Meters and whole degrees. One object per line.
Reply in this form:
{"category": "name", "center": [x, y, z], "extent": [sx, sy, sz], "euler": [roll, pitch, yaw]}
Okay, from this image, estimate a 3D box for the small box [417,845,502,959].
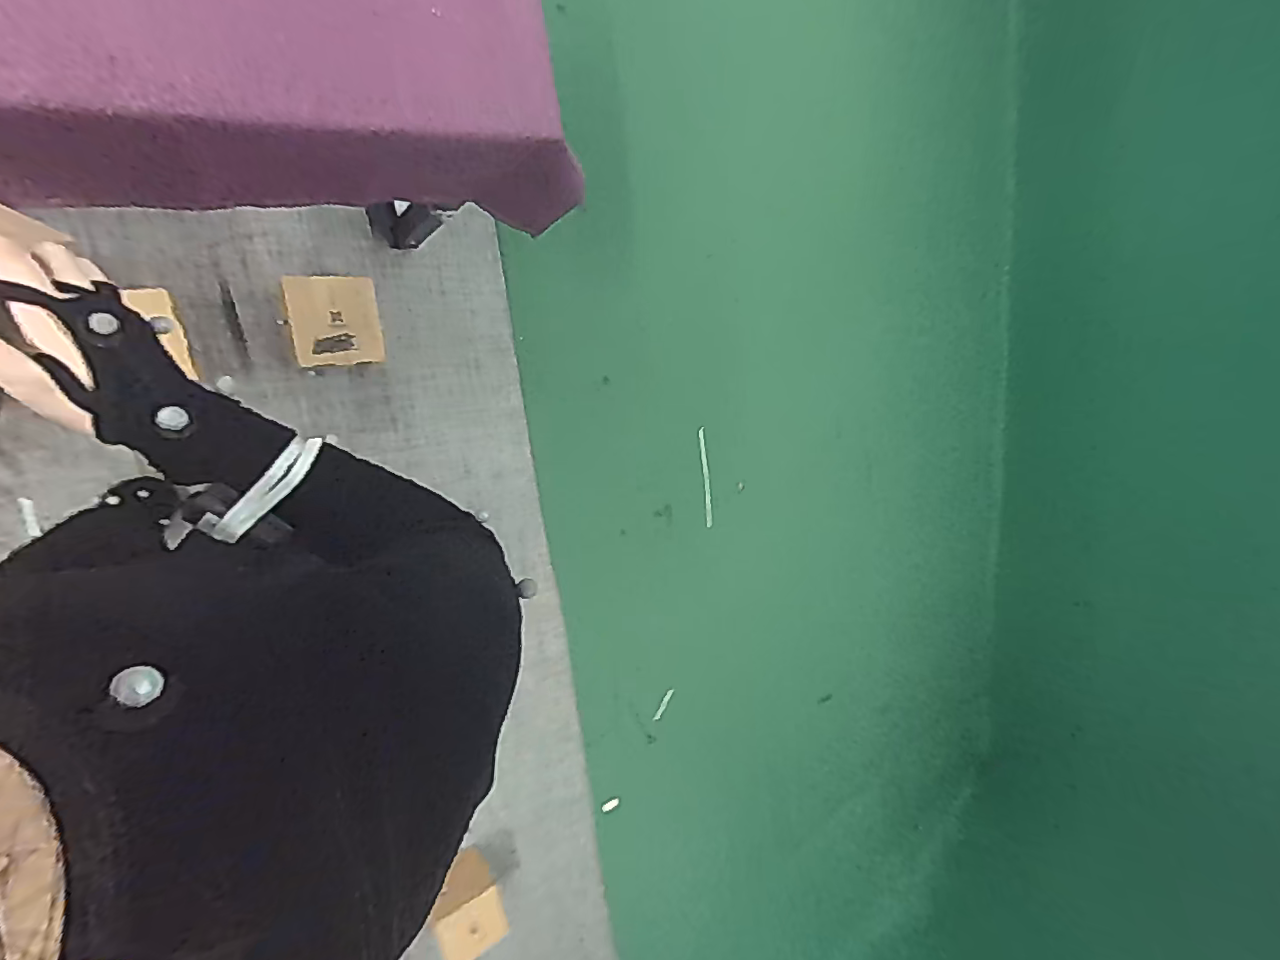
{"category": "small box", "center": [-0.508, 1.173, 1.515], "extent": [0.168, 0.176, 0.179], "euler": [-17, 107, -32]}
